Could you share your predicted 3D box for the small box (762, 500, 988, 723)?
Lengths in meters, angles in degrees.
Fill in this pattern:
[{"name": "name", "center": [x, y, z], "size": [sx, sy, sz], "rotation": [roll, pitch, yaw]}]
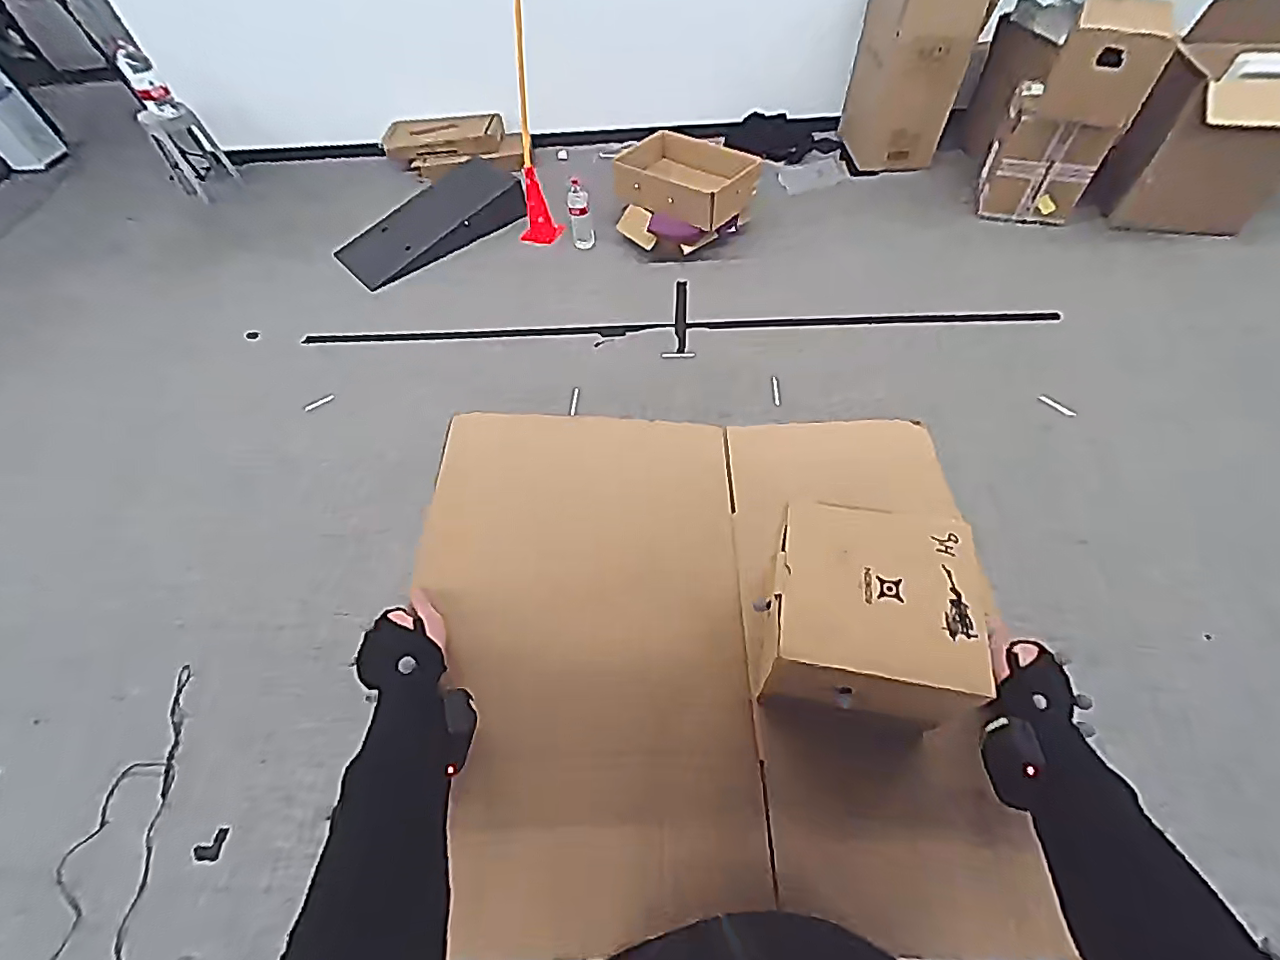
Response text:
[{"name": "small box", "center": [0.227, 0.142, 0.567], "size": [0.179, 0.176, 0.168], "rotation": [7, 57, 11]}]
